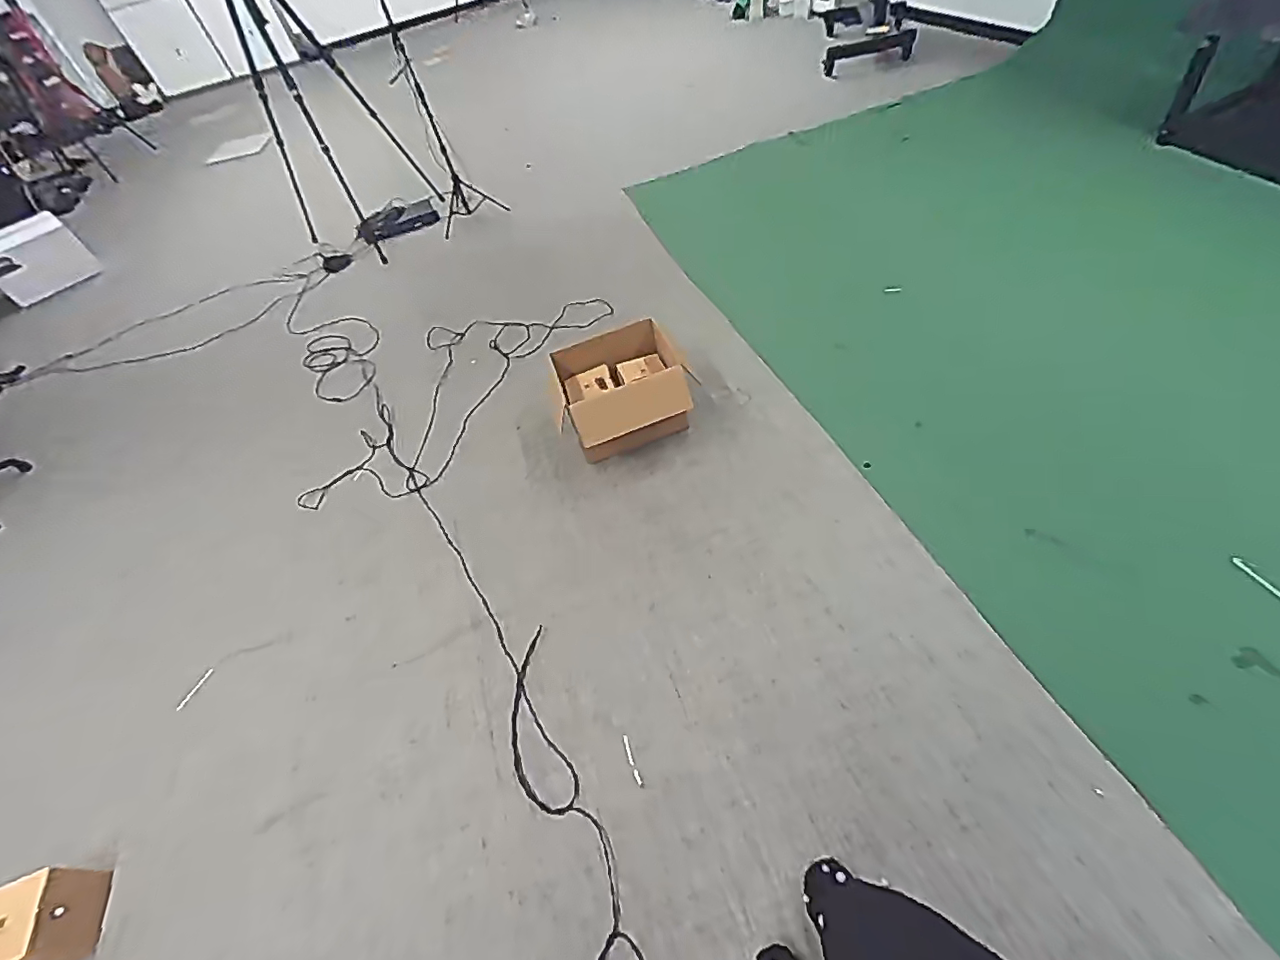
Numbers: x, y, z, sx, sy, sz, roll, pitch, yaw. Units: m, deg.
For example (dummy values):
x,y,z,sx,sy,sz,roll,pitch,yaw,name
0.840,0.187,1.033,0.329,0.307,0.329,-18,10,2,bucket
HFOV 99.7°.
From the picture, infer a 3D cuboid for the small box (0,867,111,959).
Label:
x,y,z,sx,sy,sz,roll,pitch,yaw,name
-1.402,1.041,1.261,0.168,0.176,0.179,-22,52,-7,small box
